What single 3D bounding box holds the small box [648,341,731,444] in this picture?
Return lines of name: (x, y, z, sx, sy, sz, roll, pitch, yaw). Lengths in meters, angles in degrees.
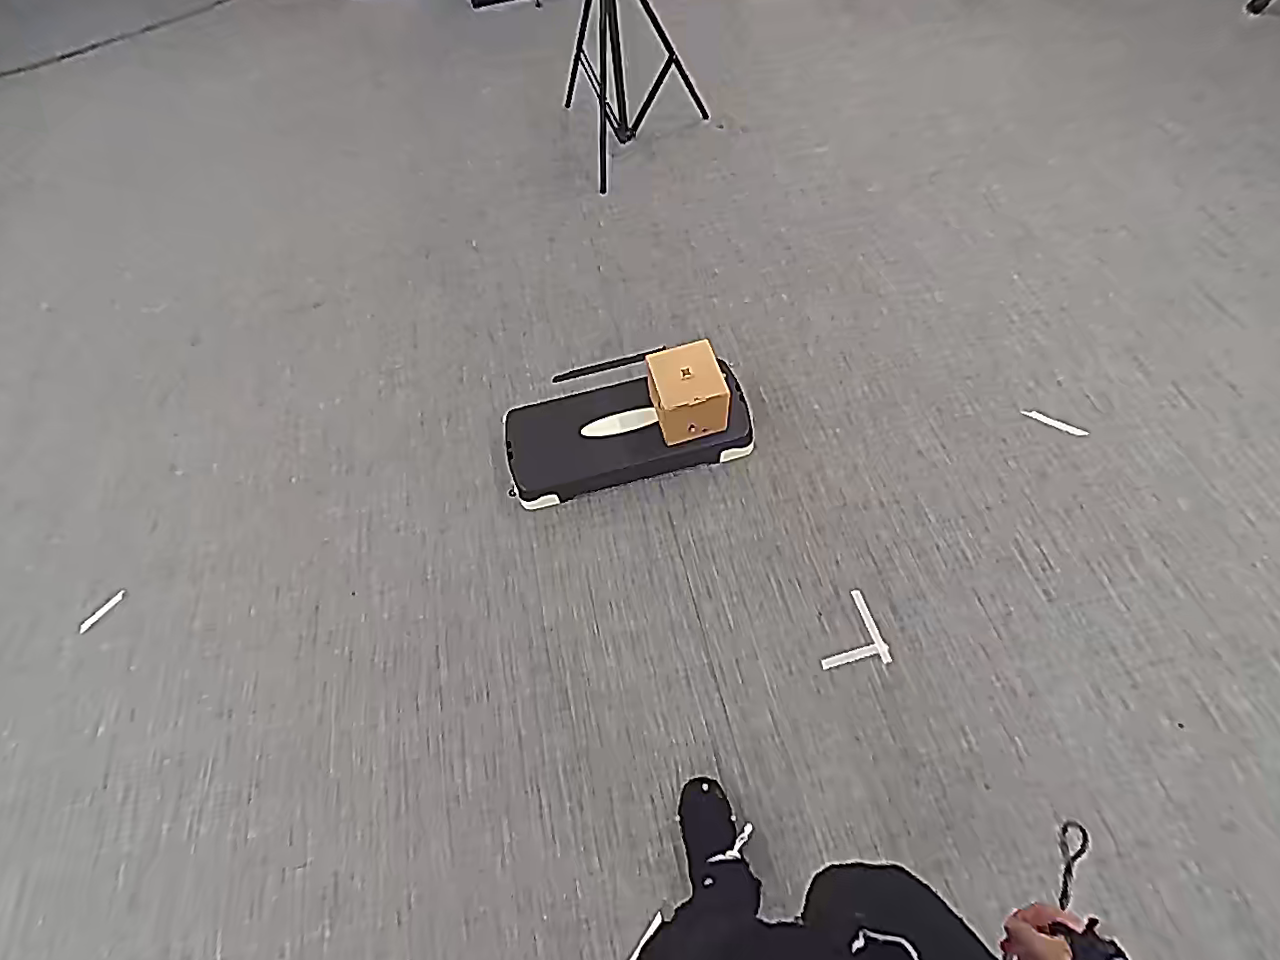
small box: (0.122, -0.222, 1.390, 0.168, 0.176, 0.179, -16, 64, -3)
